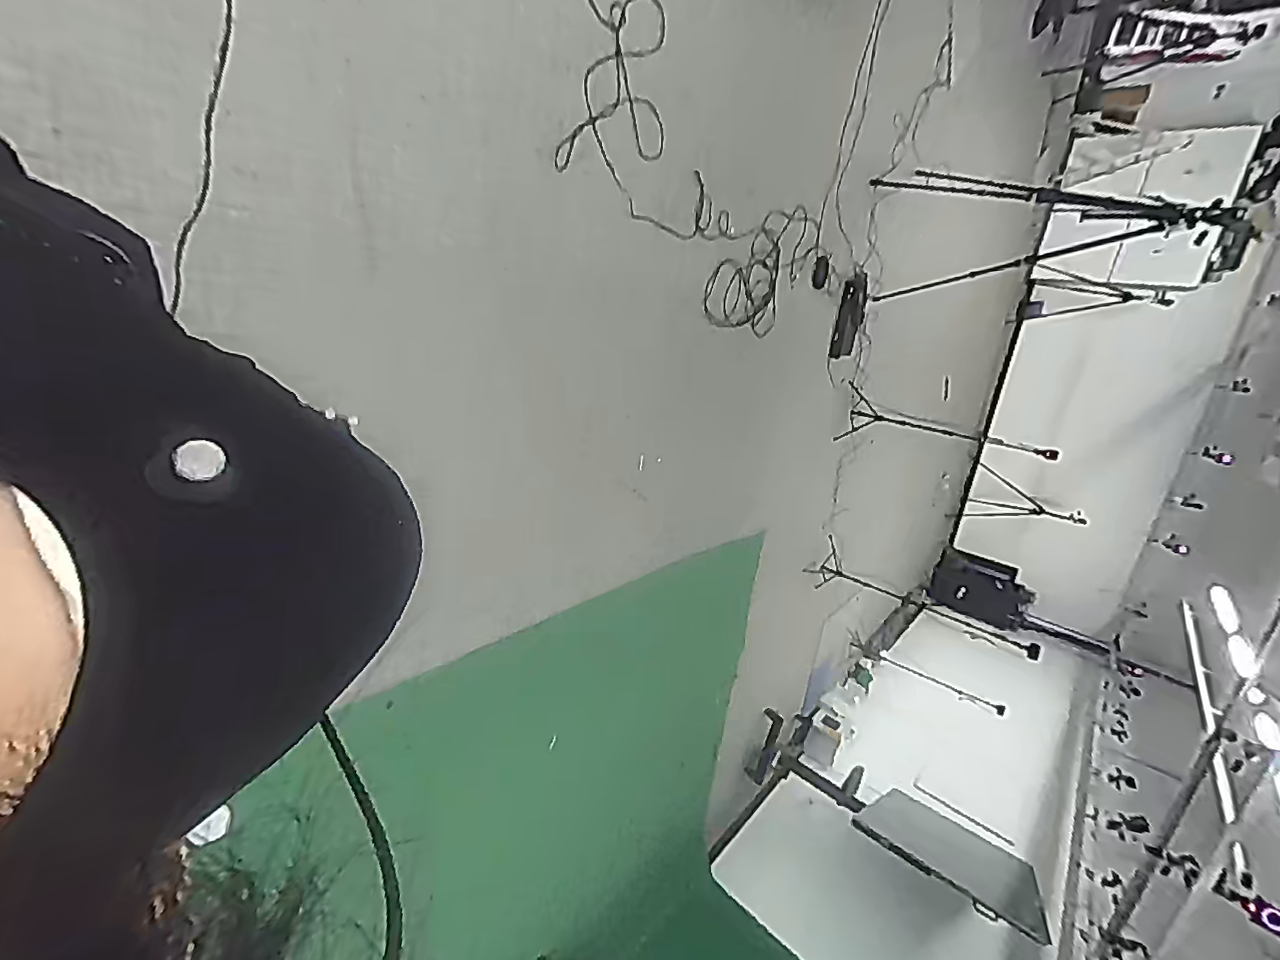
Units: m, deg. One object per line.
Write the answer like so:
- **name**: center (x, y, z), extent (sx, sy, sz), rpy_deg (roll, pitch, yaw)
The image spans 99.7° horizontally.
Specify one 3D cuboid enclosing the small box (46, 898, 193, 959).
- **small box**: center (-0.941, 0.893, 0.957), extent (0.168, 0.176, 0.179), rpy_deg (22, 90, -52)
